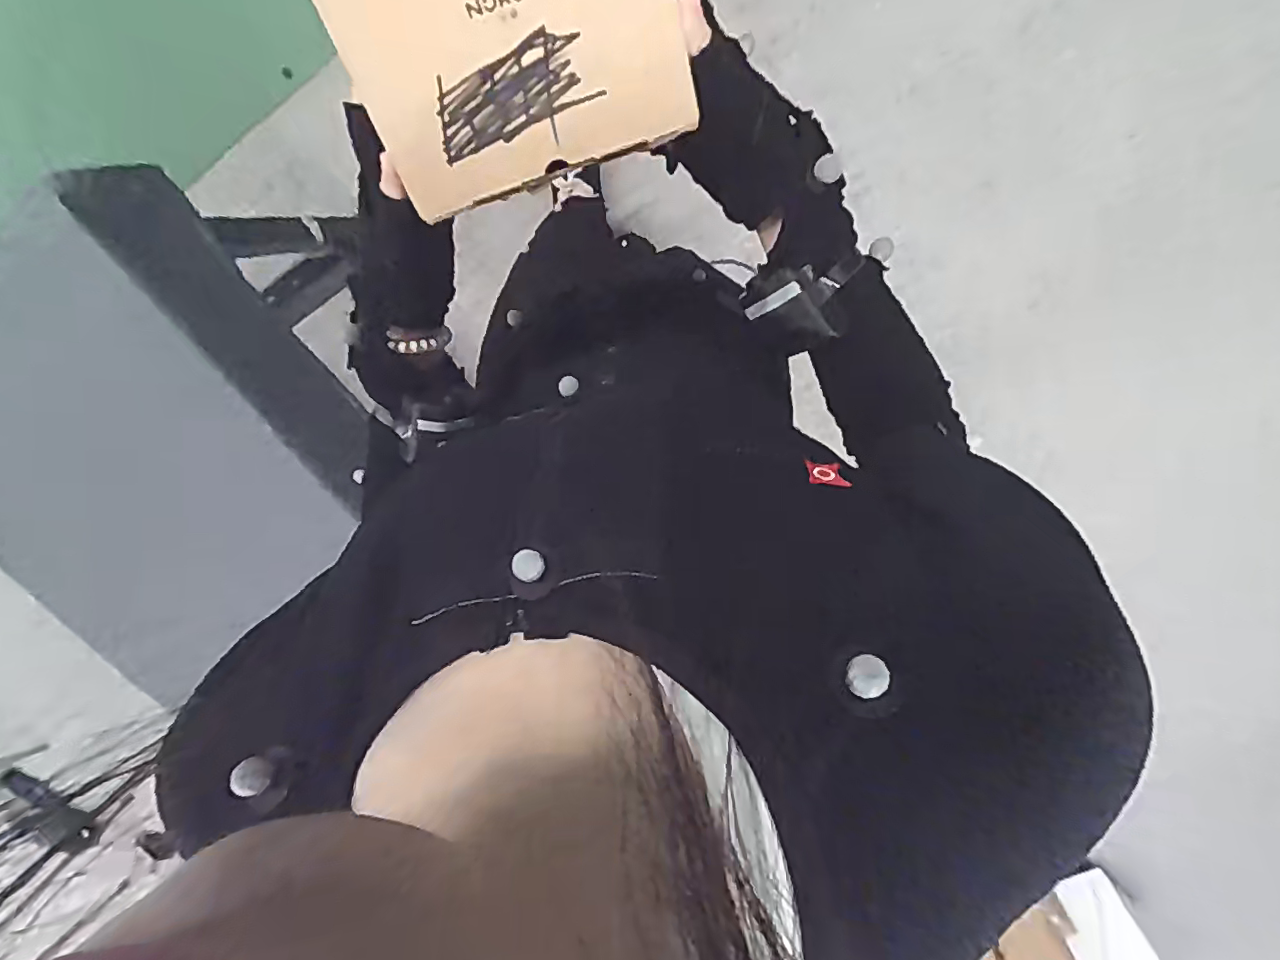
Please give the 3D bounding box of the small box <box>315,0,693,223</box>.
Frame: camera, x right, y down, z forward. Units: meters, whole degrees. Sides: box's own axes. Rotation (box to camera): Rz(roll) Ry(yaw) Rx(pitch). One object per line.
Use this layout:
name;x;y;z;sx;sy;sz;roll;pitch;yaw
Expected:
small box;-0.078;-0.279;0.318;0.168;0.176;0.179;-17;124;3
